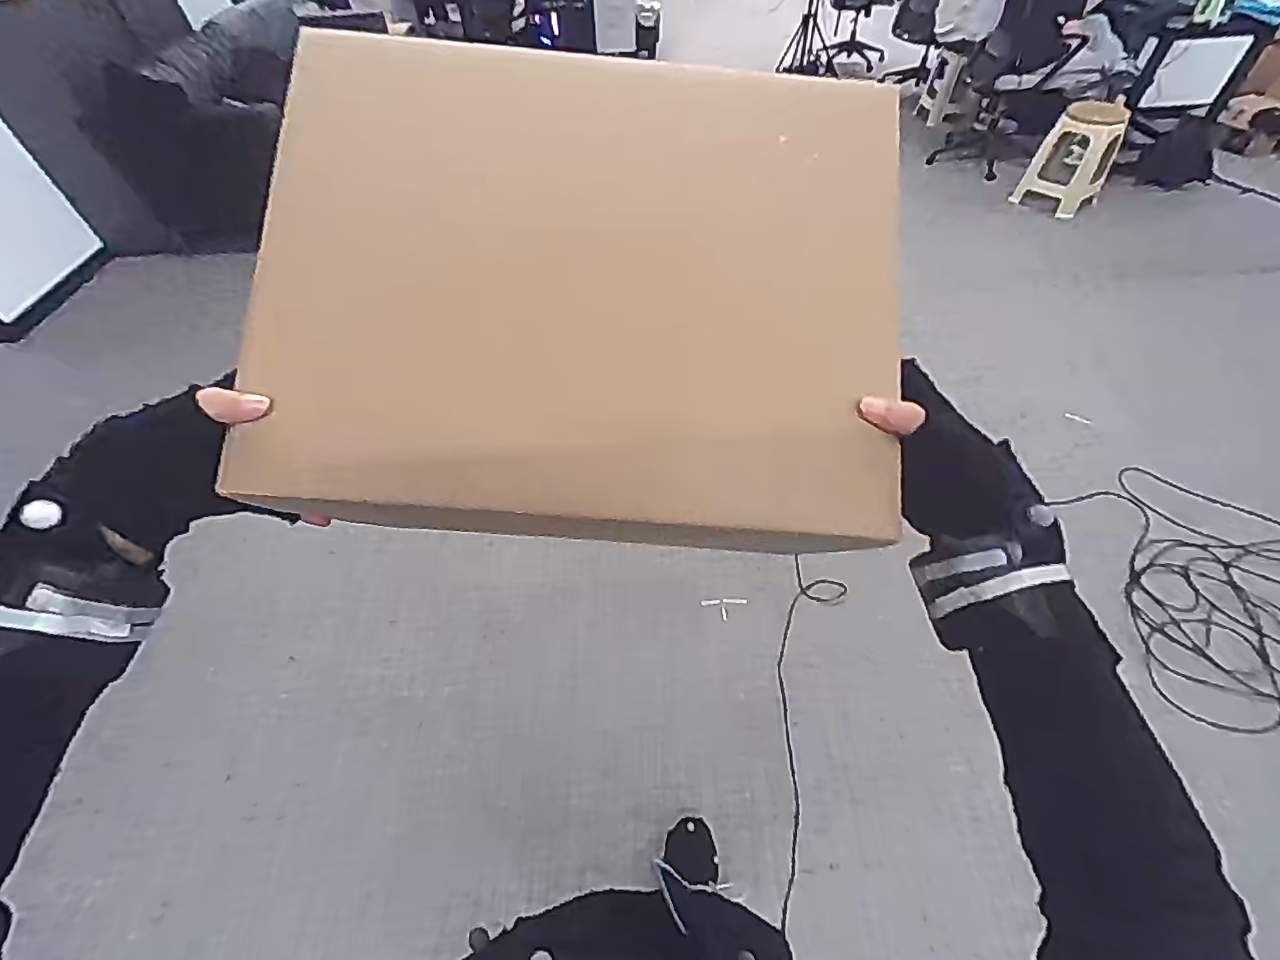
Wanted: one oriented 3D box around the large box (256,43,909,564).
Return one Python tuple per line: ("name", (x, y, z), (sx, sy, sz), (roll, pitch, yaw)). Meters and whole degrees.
("large box", (-0.028, -0.102, 0.495), (0.408, 0.320, 0.320), (6, 82, -2))
